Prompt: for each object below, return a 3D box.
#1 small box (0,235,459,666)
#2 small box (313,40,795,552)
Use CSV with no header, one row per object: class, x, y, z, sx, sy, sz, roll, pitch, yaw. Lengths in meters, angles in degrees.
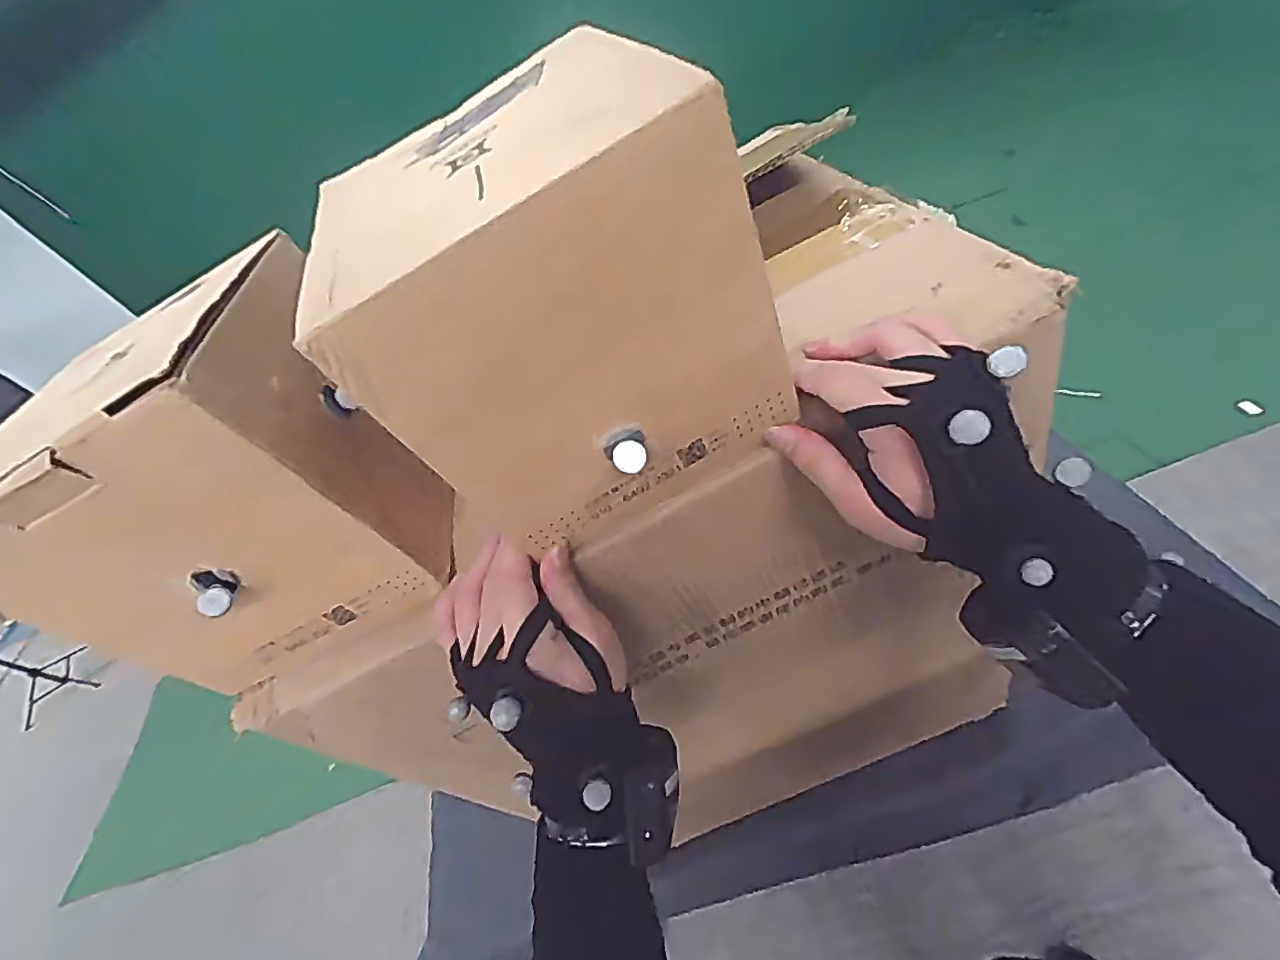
small box,-0.229,-0.007,0.333,0.168,0.176,0.179,-26,45,7
small box,-0.037,-0.093,0.296,0.168,0.176,0.179,-29,48,4
